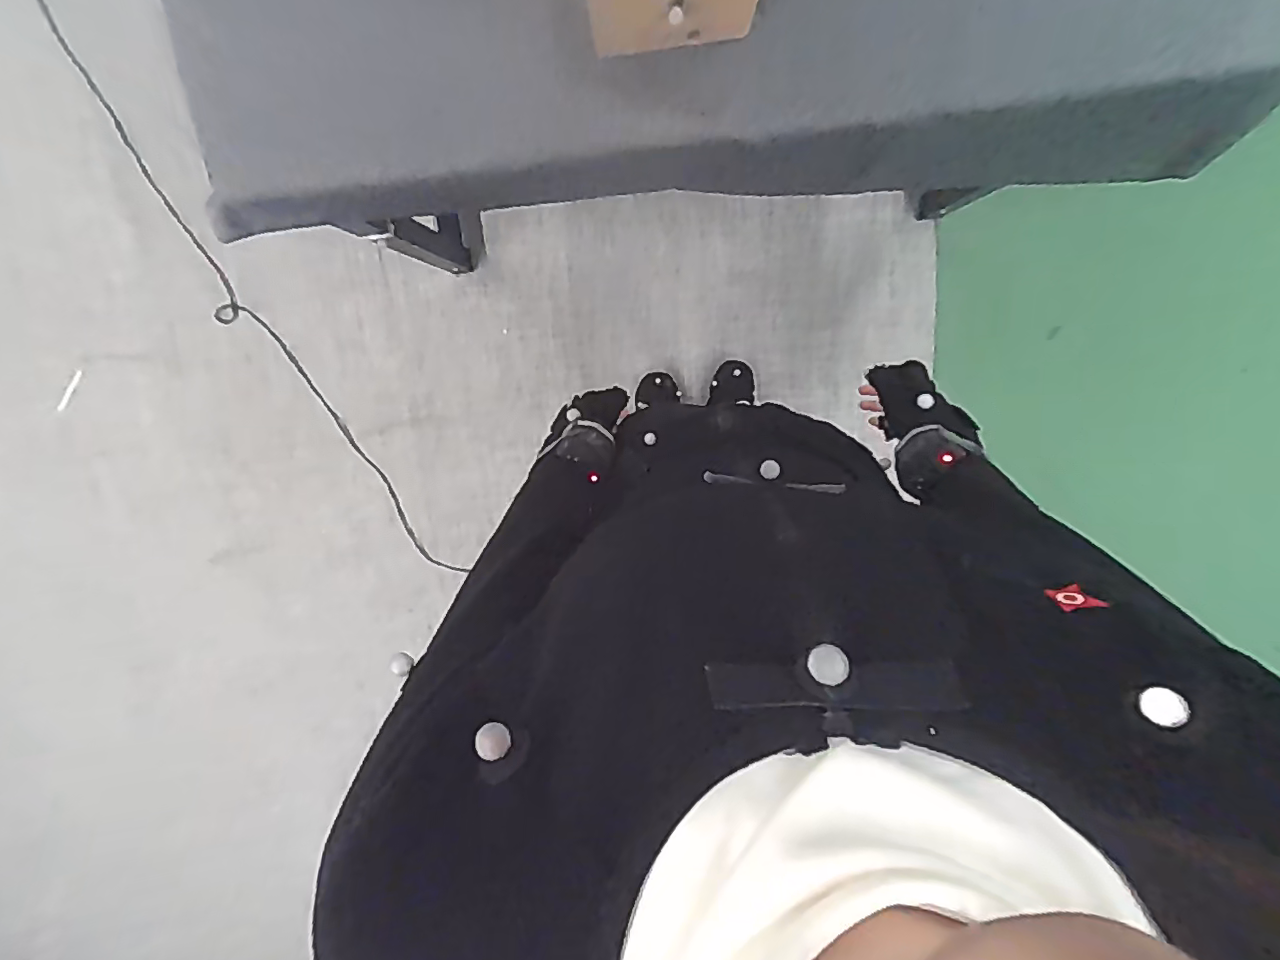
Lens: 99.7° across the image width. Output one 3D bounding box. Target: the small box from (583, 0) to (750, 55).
[{"bbox_3d":[0.020,-0.527,0.493,0.168,0.176,0.179,-7,103,2],"label":"small box"}]
